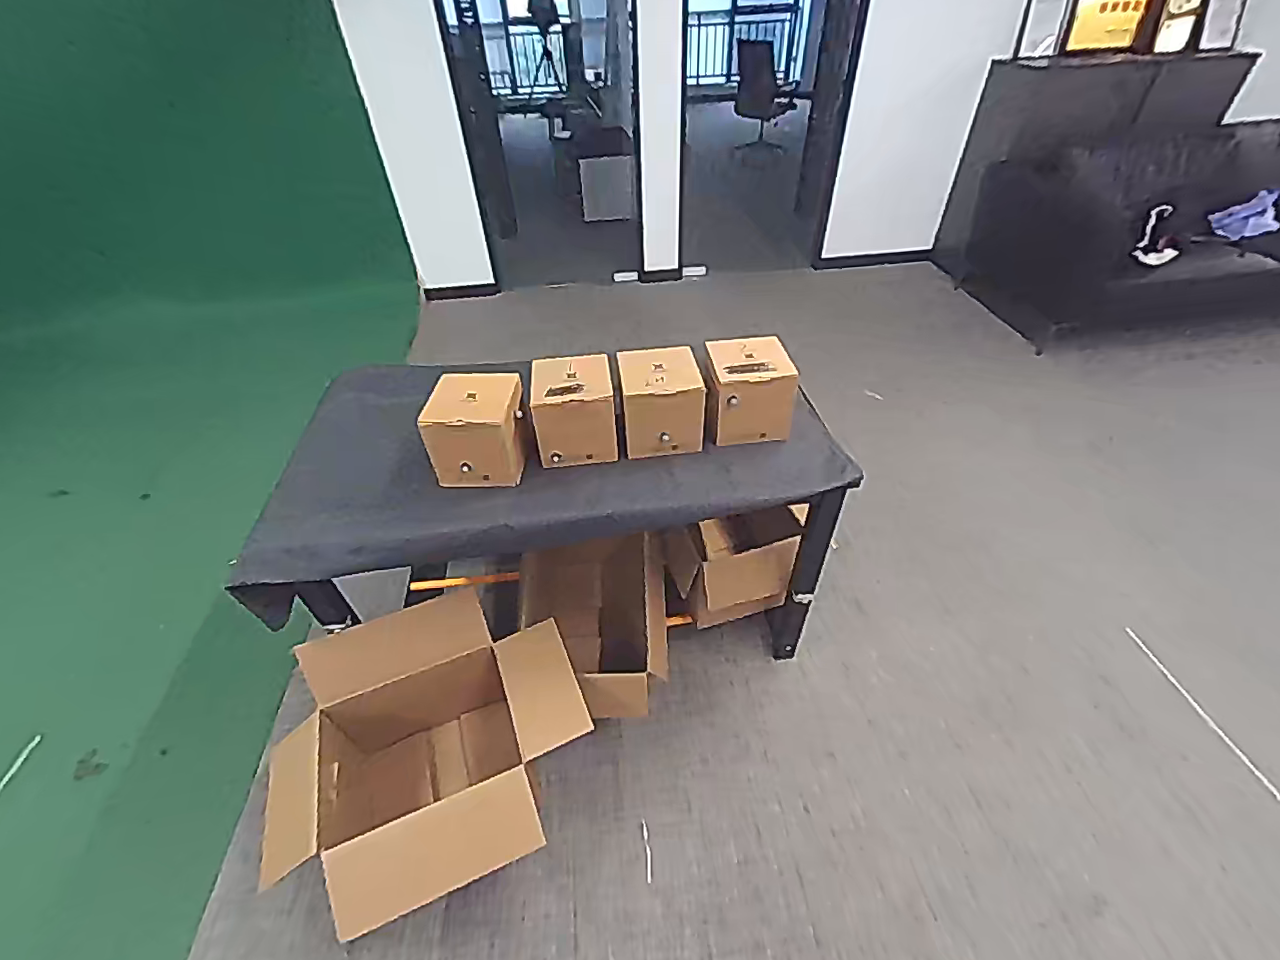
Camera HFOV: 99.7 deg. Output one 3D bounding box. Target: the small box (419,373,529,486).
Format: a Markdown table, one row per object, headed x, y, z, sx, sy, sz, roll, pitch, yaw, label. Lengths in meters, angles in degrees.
| x | y | z | sx | sy | sz | roll | pitch | yaw | label |
| --- | --- | --- | --- | --- | --- | --- | --- | --- | --- |
| -0.335 | -0.107 | 1.134 | 0.168 | 0.176 | 0.179 | 0 | 43 | 2 | small box |
